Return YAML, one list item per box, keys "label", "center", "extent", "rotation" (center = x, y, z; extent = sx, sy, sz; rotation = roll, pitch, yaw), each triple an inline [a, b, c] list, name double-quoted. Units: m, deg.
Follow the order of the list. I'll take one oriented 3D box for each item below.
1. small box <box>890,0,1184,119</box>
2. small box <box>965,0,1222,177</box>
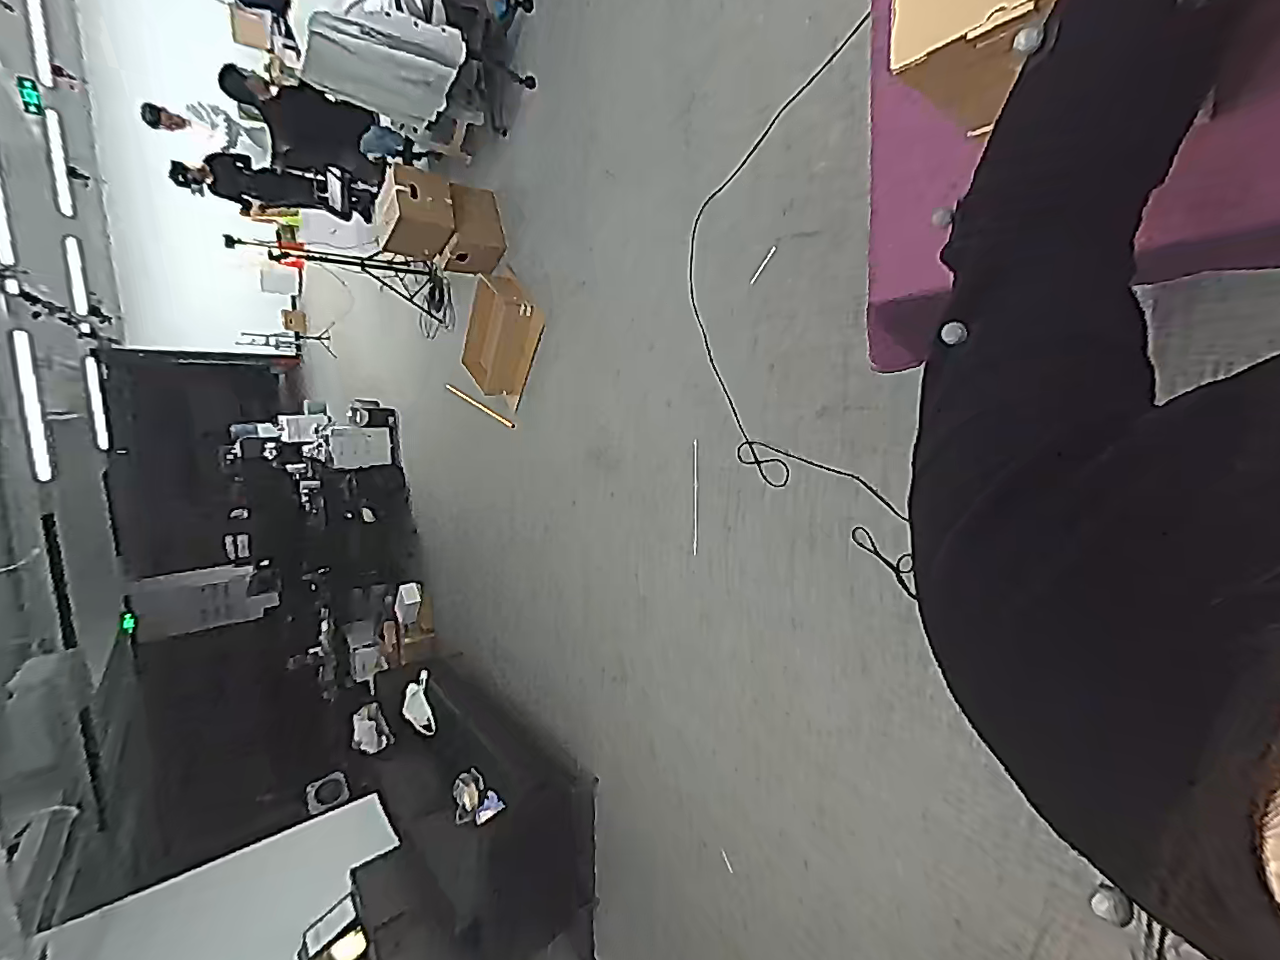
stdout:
- label: "small box"
  center: [0.330, -0.433, 0.446]
  extent: [0.168, 0.176, 0.179]
  rotation: [9, 102, 50]
- label: "small box"
  center: [0.459, -0.444, 0.549]
  extent: [0.168, 0.176, 0.179]
  rotation: [9, 102, 51]
